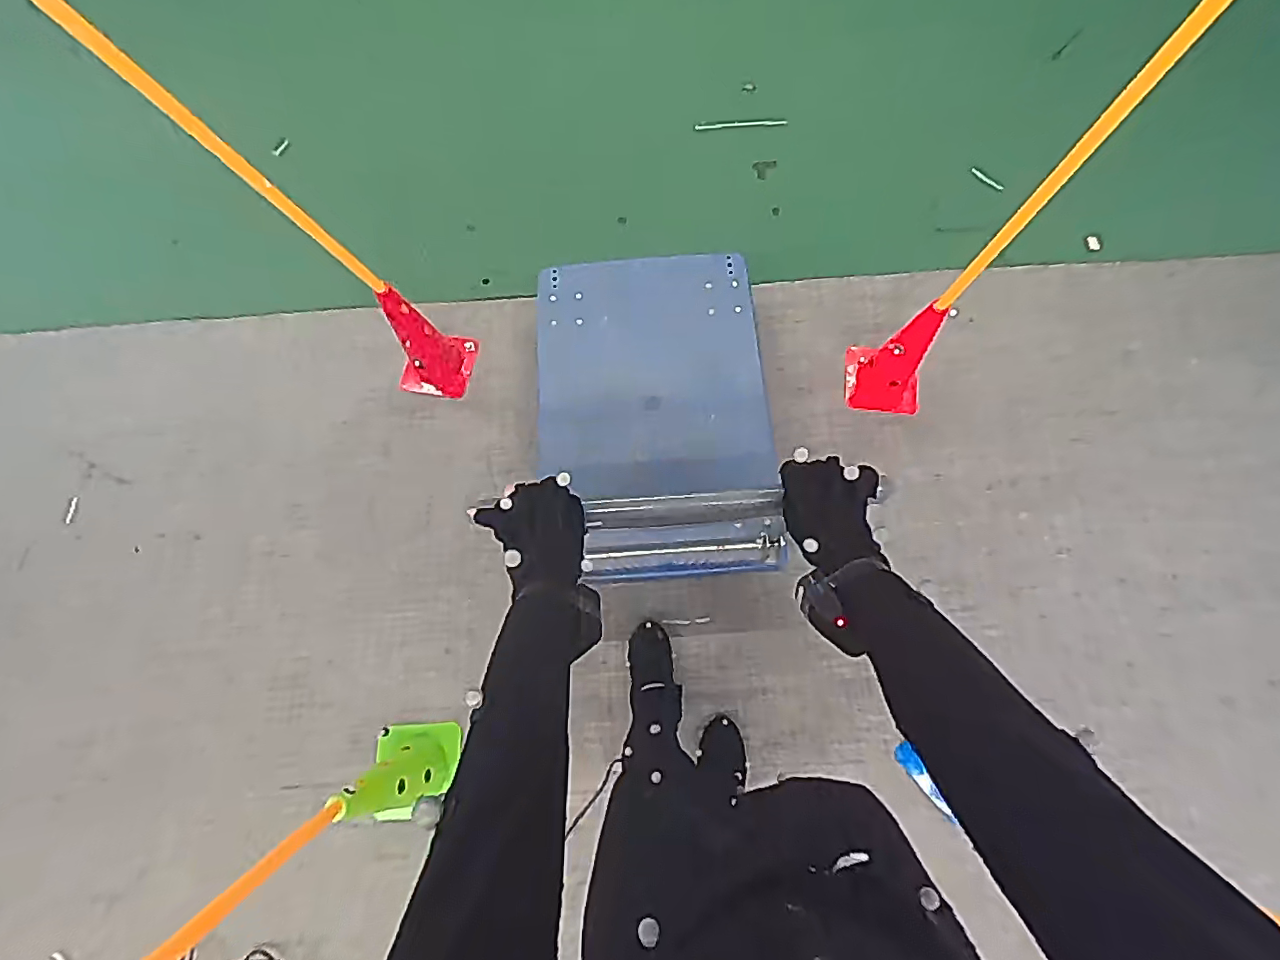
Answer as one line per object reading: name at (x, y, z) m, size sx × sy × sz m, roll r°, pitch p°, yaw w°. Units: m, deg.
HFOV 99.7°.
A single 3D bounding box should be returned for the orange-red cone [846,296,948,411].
orange-red cone at (0.680, -0.342, 1.371) m, size 0.198 × 0.360 × 0.199 m, roll 7°, pitch 74°, yaw 6°
